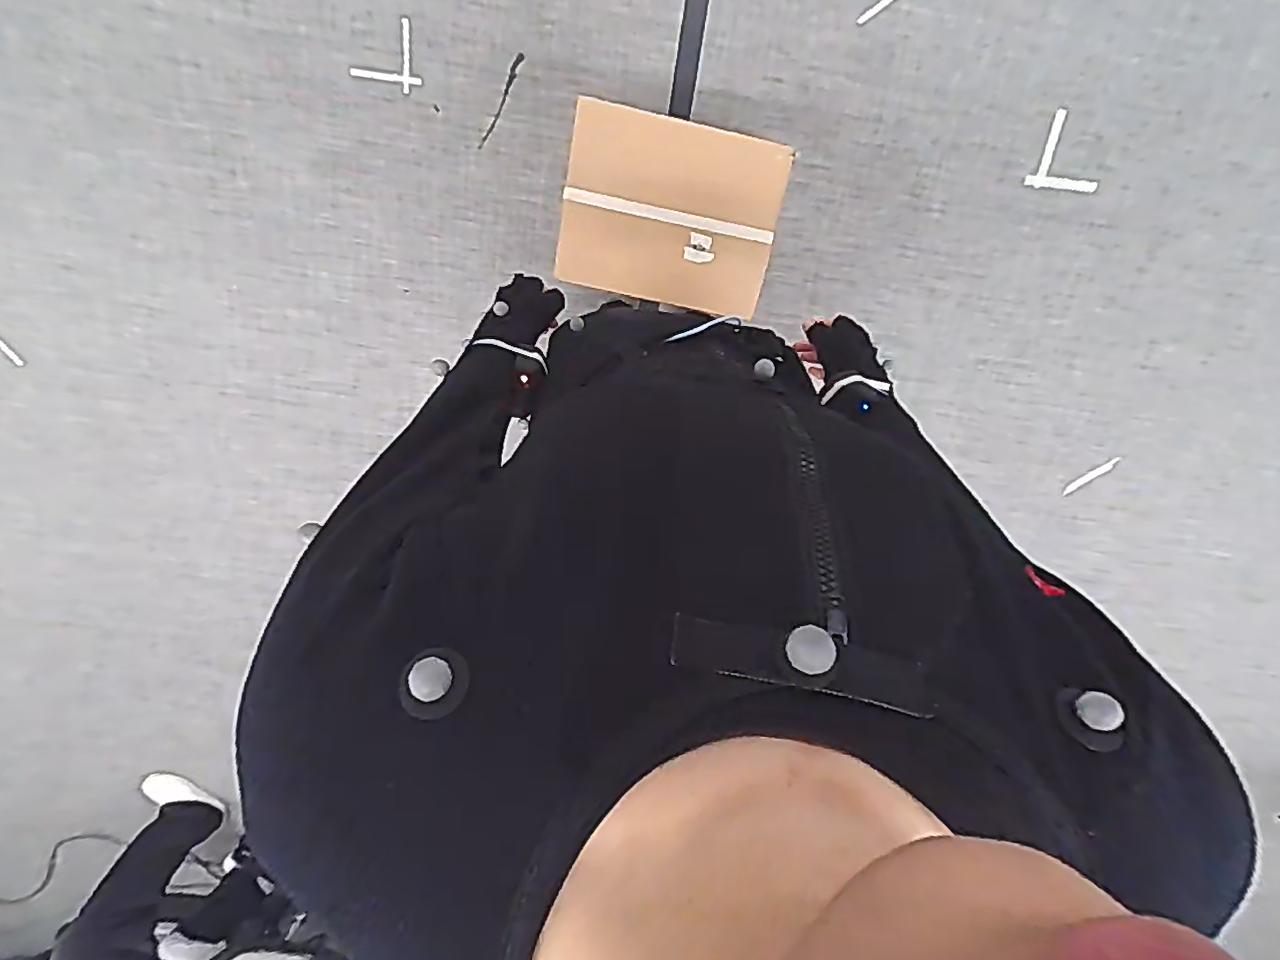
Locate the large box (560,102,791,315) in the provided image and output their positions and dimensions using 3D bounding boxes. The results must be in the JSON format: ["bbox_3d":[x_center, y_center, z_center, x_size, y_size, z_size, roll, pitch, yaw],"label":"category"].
[{"bbox_3d":[0.055,-0.561,1.178,0.408,0.320,0.320,10,111,-6],"label":"large box"}]
